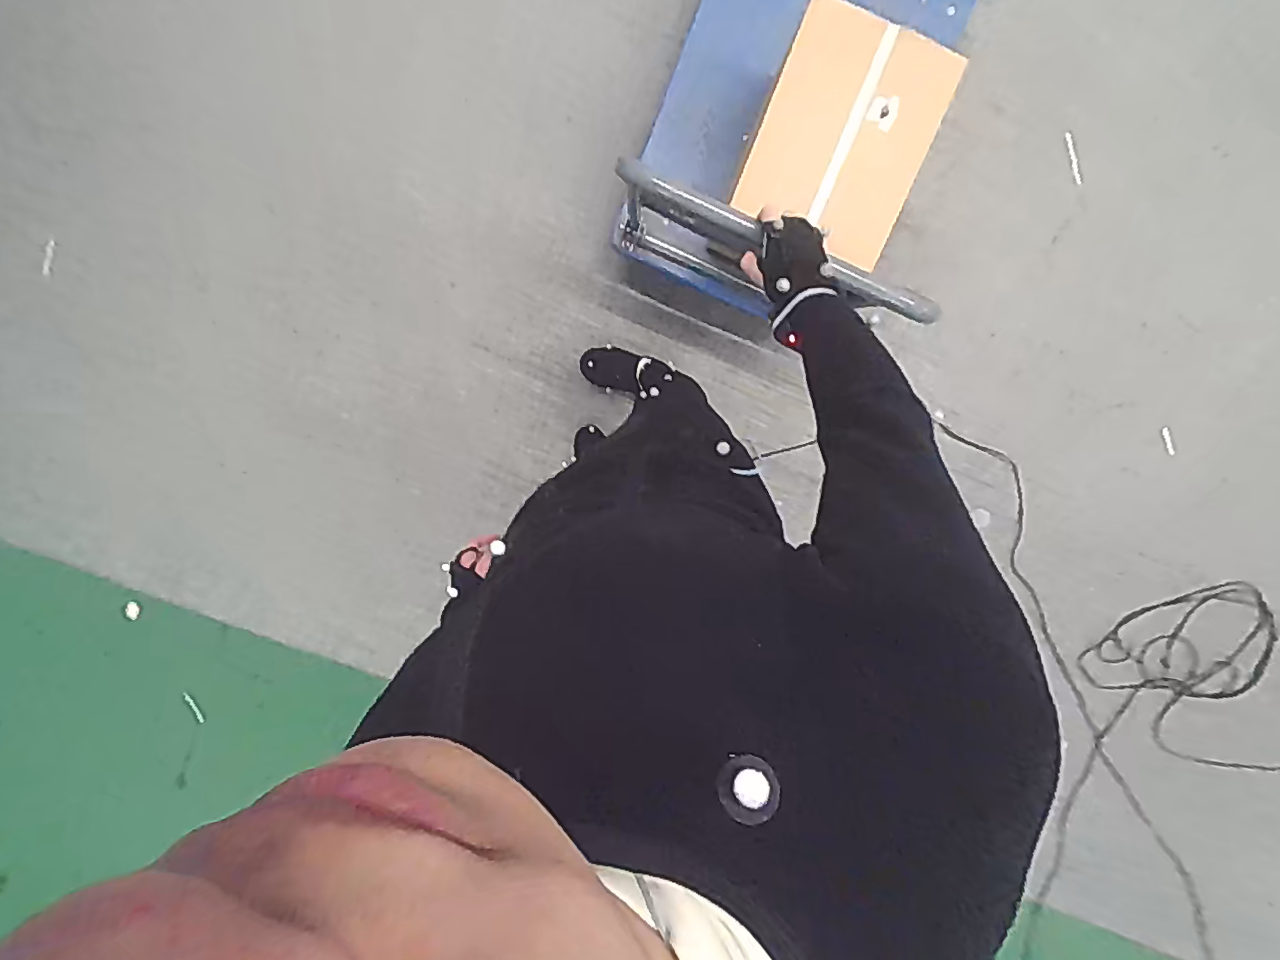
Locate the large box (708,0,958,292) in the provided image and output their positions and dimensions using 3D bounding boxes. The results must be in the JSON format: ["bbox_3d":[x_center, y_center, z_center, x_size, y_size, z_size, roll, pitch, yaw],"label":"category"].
[{"bbox_3d":[0.371,-0.666,1.156,0.320,0.320,0.408,21,101,-6],"label":"large box"}]
